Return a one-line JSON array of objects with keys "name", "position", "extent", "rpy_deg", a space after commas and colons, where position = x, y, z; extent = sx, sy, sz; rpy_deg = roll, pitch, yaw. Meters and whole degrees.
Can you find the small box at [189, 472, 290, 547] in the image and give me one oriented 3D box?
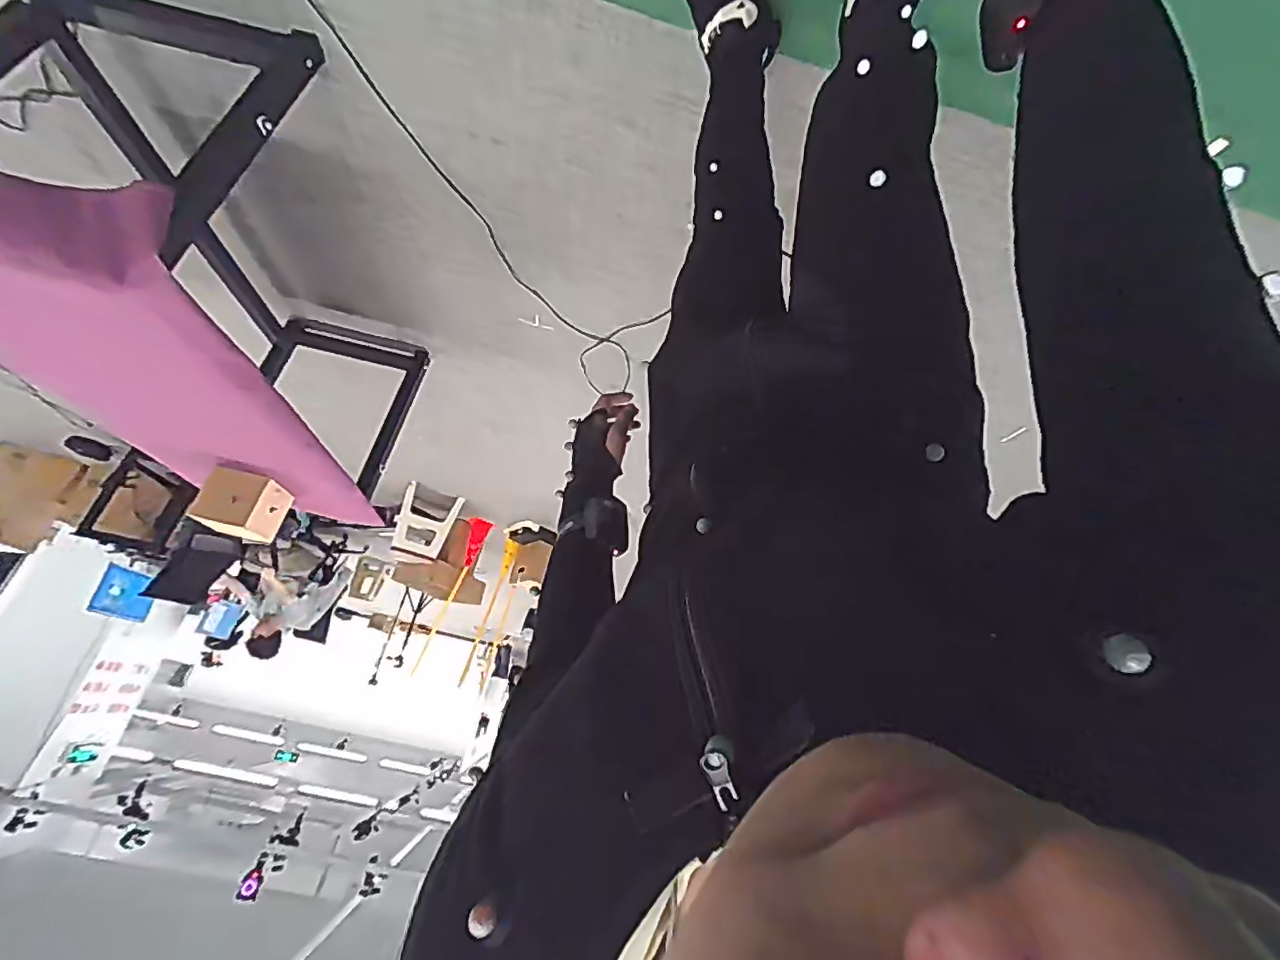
[{"name": "small box", "position": [-1.233, 0.091, 1.686], "extent": [0.179, 0.176, 0.168], "rpy_deg": [12, 154, -2]}]
